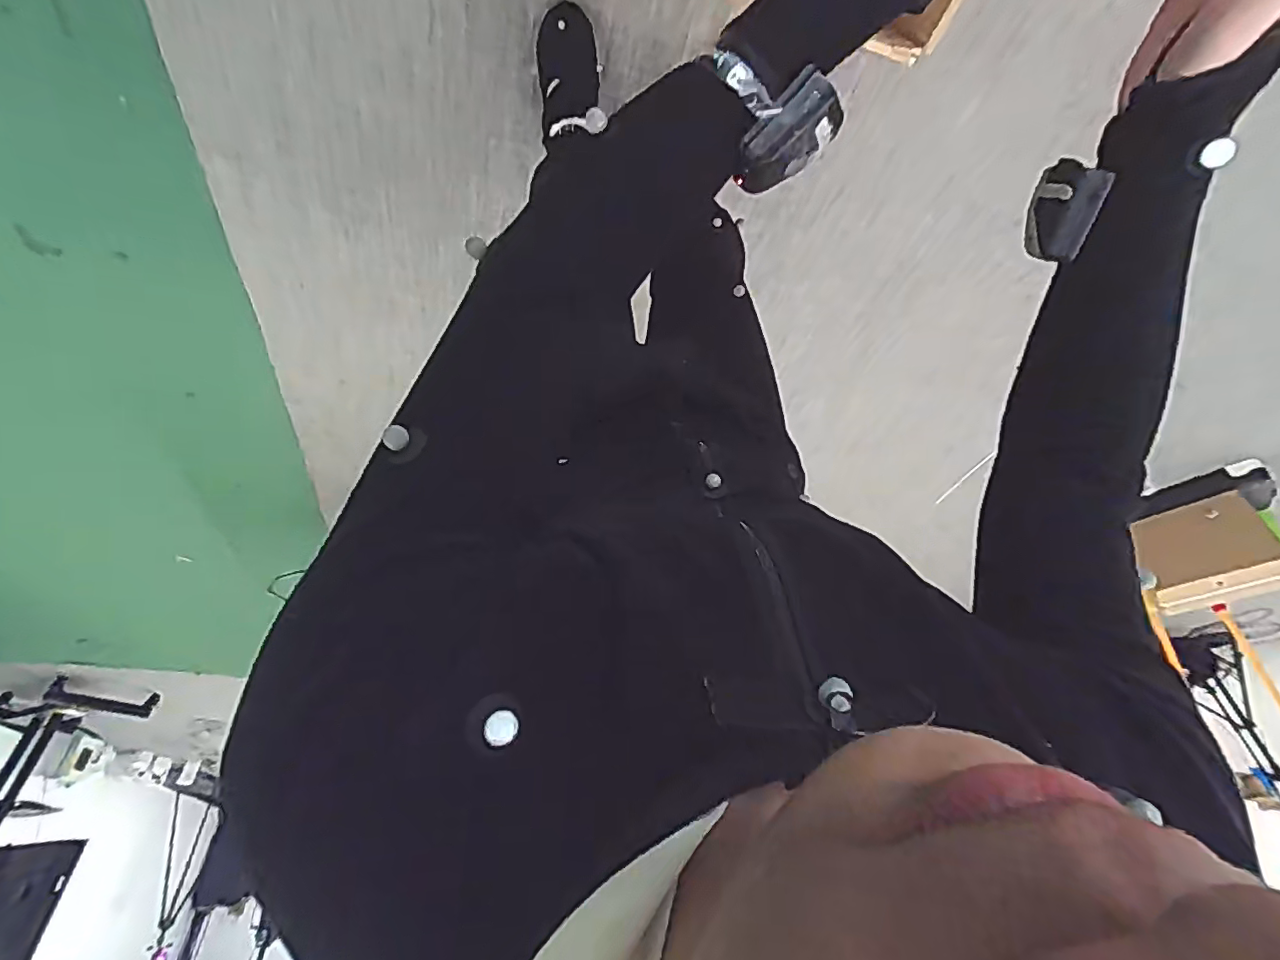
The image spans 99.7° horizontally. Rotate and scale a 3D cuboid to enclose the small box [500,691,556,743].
[{"bbox_3d":[-0.401,0.864,1.938,0.179,0.176,0.168,6,142,-9],"label":"small box"}]
